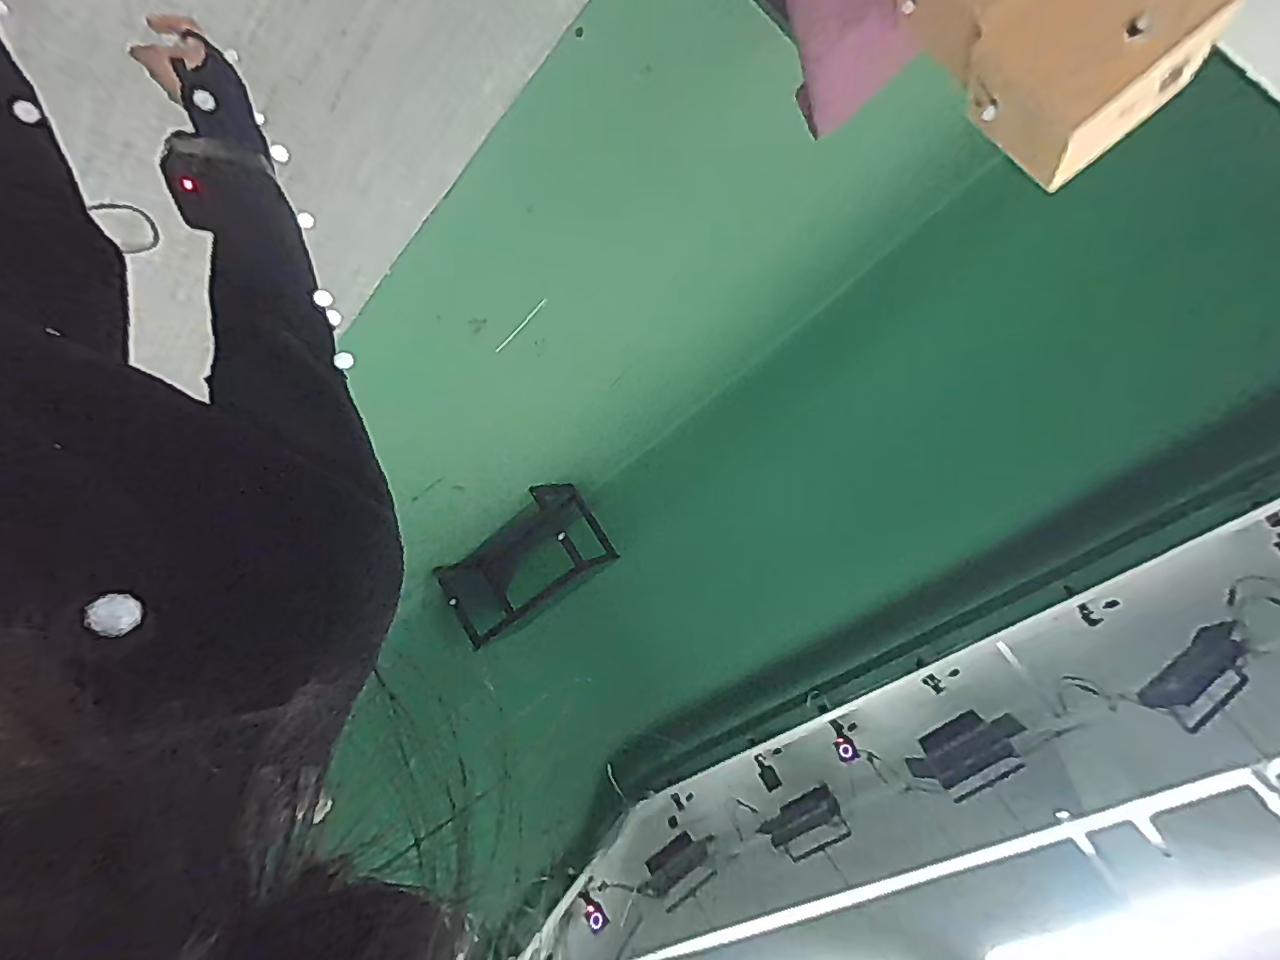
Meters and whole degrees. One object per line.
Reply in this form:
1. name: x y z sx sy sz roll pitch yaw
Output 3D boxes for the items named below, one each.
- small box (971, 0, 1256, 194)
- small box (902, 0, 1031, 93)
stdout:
1. small box: 0.539 -0.498 0.646 0.179 0.176 0.168 -40 164 25
2. small box: 0.451 -0.637 0.663 0.179 0.176 0.168 -40 164 25
